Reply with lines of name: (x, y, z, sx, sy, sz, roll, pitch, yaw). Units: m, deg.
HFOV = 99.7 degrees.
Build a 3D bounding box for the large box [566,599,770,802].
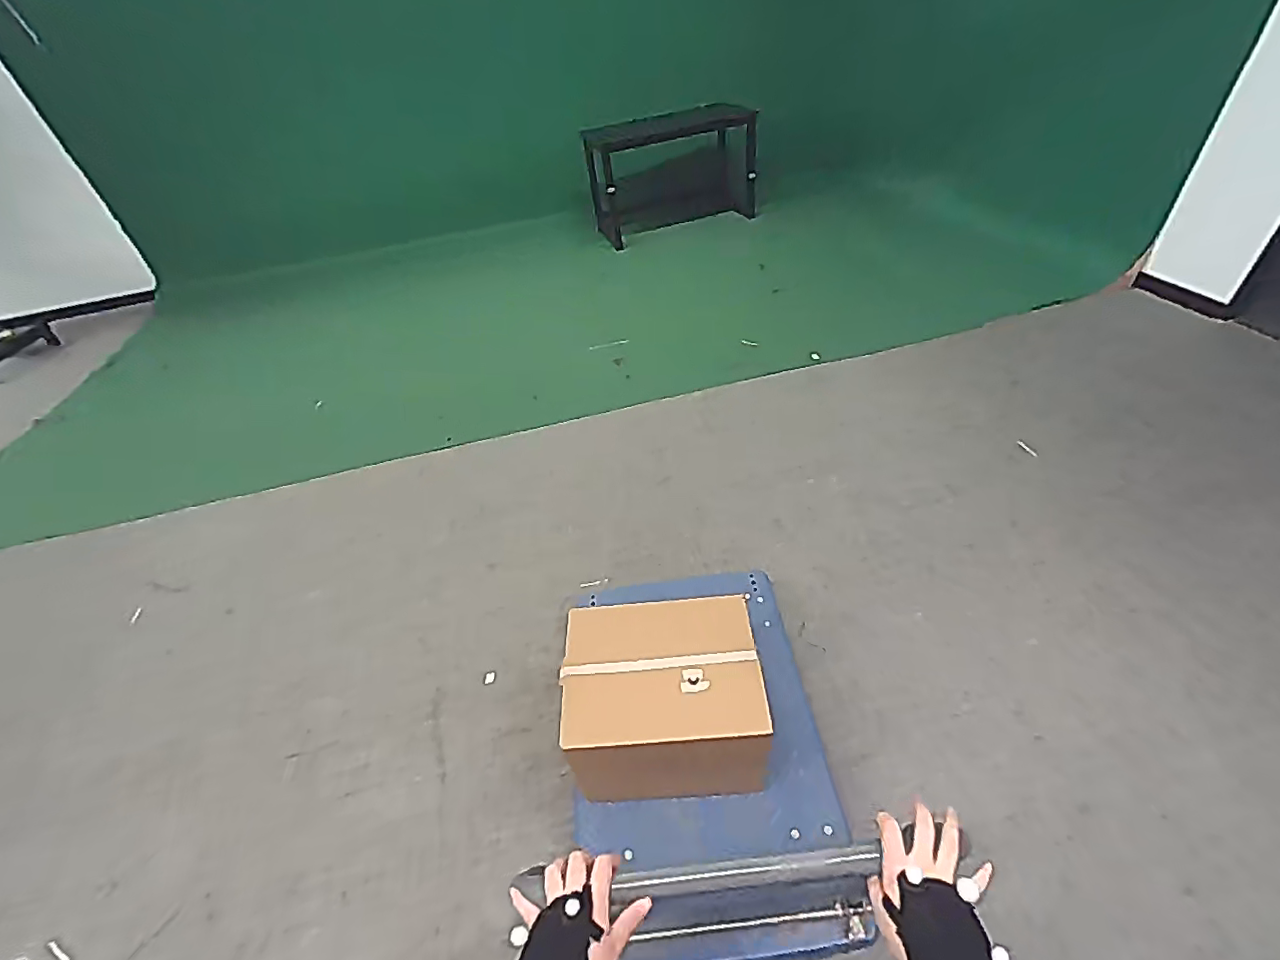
large box: (0.057, 0.505, 1.240, 0.408, 0.320, 0.320, -5, 42, 2)
